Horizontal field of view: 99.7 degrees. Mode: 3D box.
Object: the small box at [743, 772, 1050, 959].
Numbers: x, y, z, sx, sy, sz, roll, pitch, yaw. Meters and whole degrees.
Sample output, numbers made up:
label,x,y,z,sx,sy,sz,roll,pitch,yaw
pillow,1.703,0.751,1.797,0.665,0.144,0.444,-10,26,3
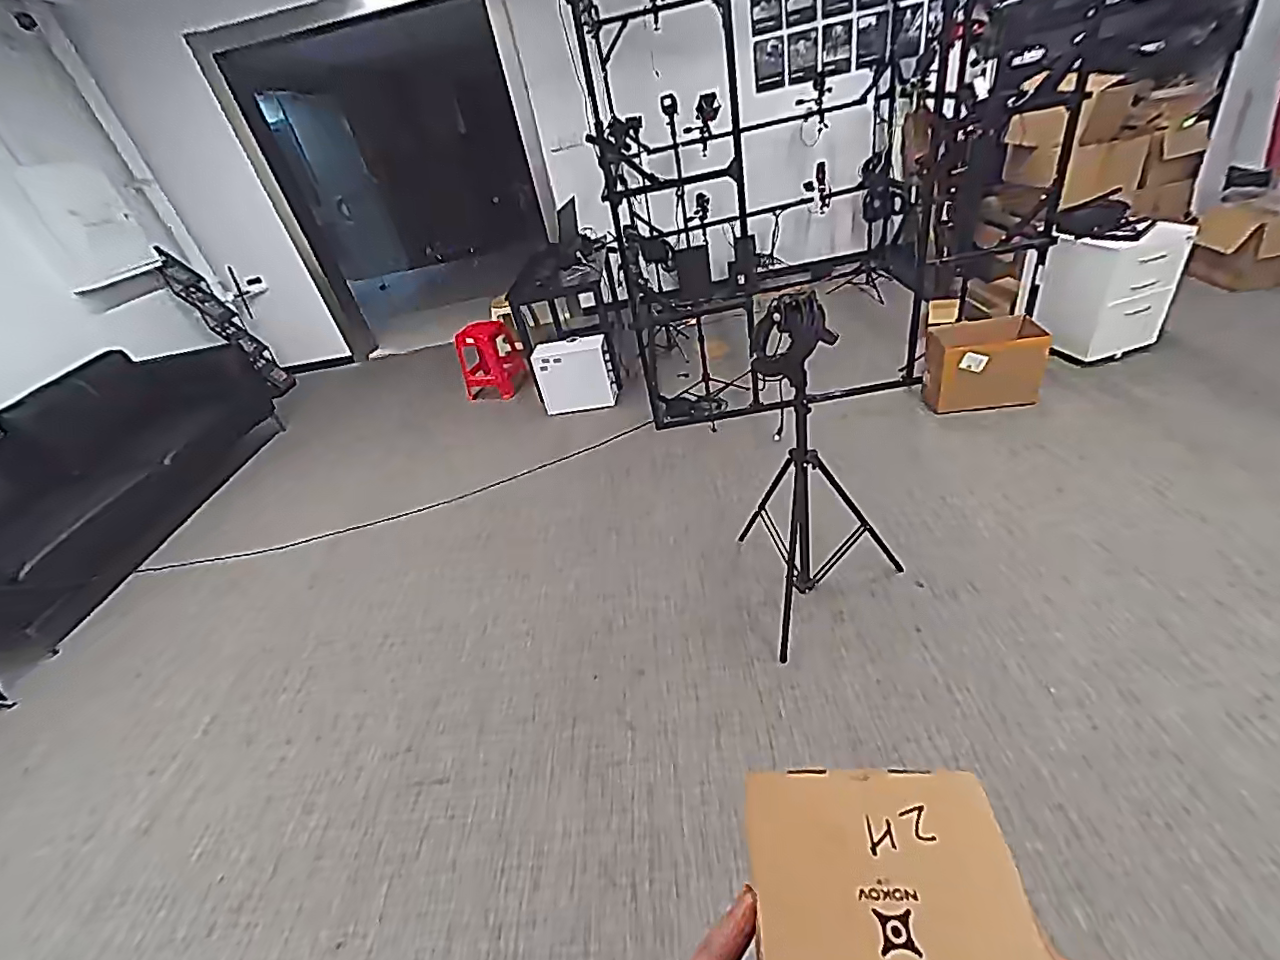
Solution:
label,x,y,z,sx,sy,sz,roll,pitch,yaw
small box,0.163,0.331,0.375,0.168,0.176,0.179,-3,36,7
